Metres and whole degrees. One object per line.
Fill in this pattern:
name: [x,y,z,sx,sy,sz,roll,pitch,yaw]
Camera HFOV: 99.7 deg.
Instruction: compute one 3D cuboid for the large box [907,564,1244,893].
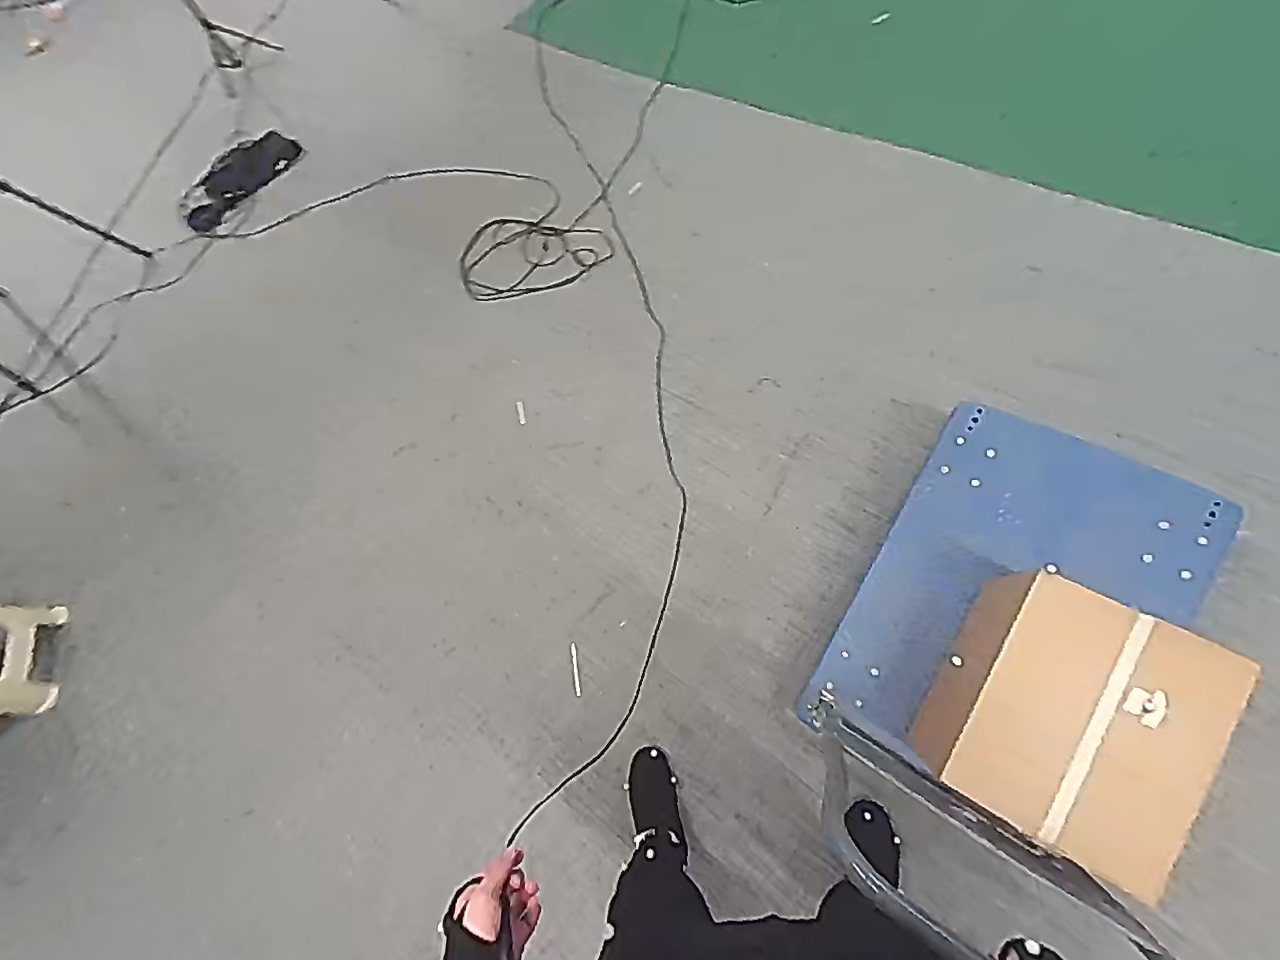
large box: [0.757,0.419,1.010,0.320,0.320,0.408,28,85,20]
